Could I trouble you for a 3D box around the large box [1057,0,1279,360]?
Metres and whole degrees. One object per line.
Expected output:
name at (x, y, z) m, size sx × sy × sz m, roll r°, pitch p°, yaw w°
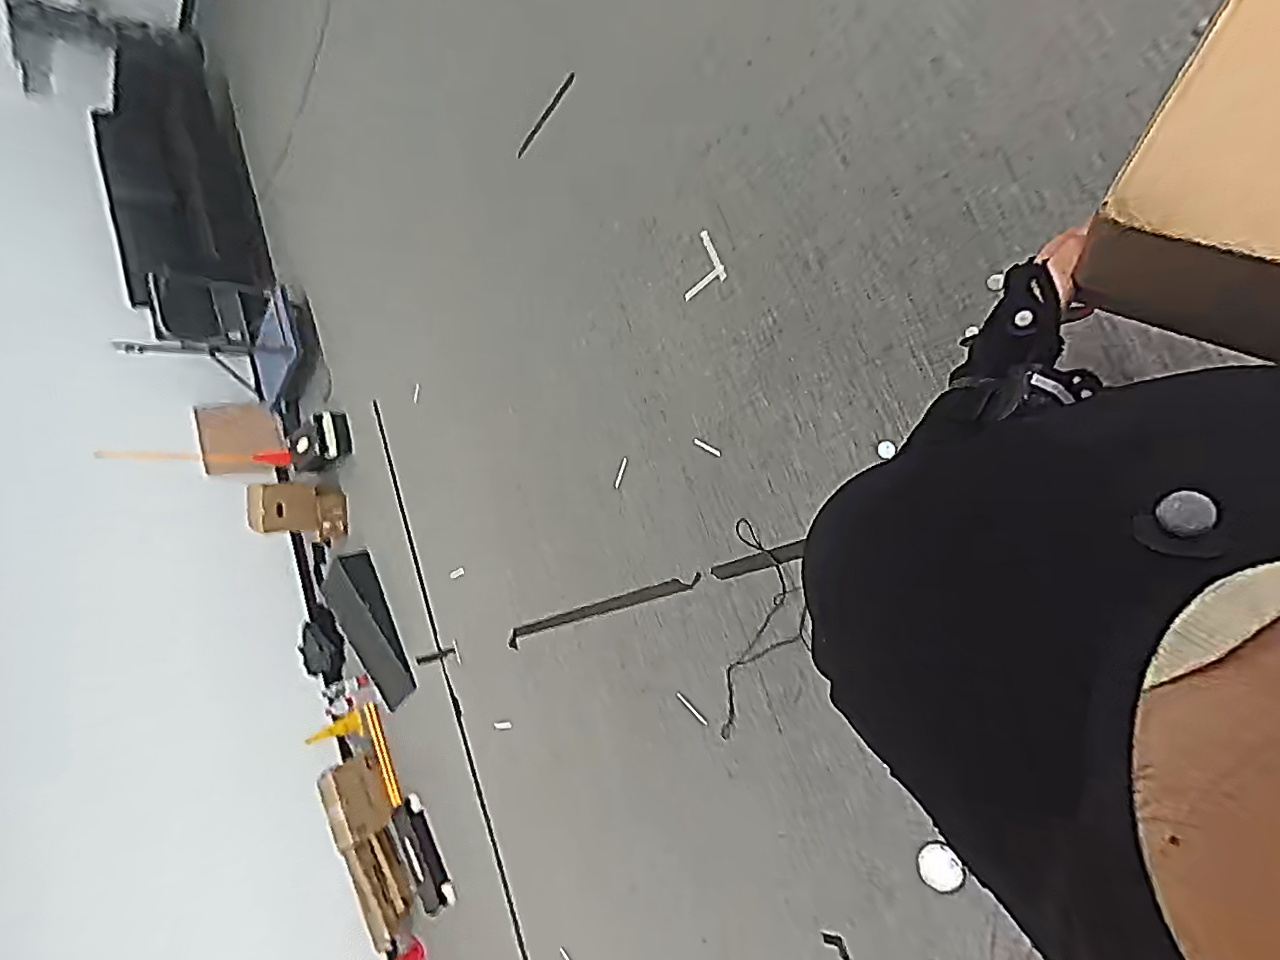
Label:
large box at (0.505, -0.196, 0.248) m, size 0.408 × 0.320 × 0.320 m, roll 31°, pitch 115°, yaw 27°
